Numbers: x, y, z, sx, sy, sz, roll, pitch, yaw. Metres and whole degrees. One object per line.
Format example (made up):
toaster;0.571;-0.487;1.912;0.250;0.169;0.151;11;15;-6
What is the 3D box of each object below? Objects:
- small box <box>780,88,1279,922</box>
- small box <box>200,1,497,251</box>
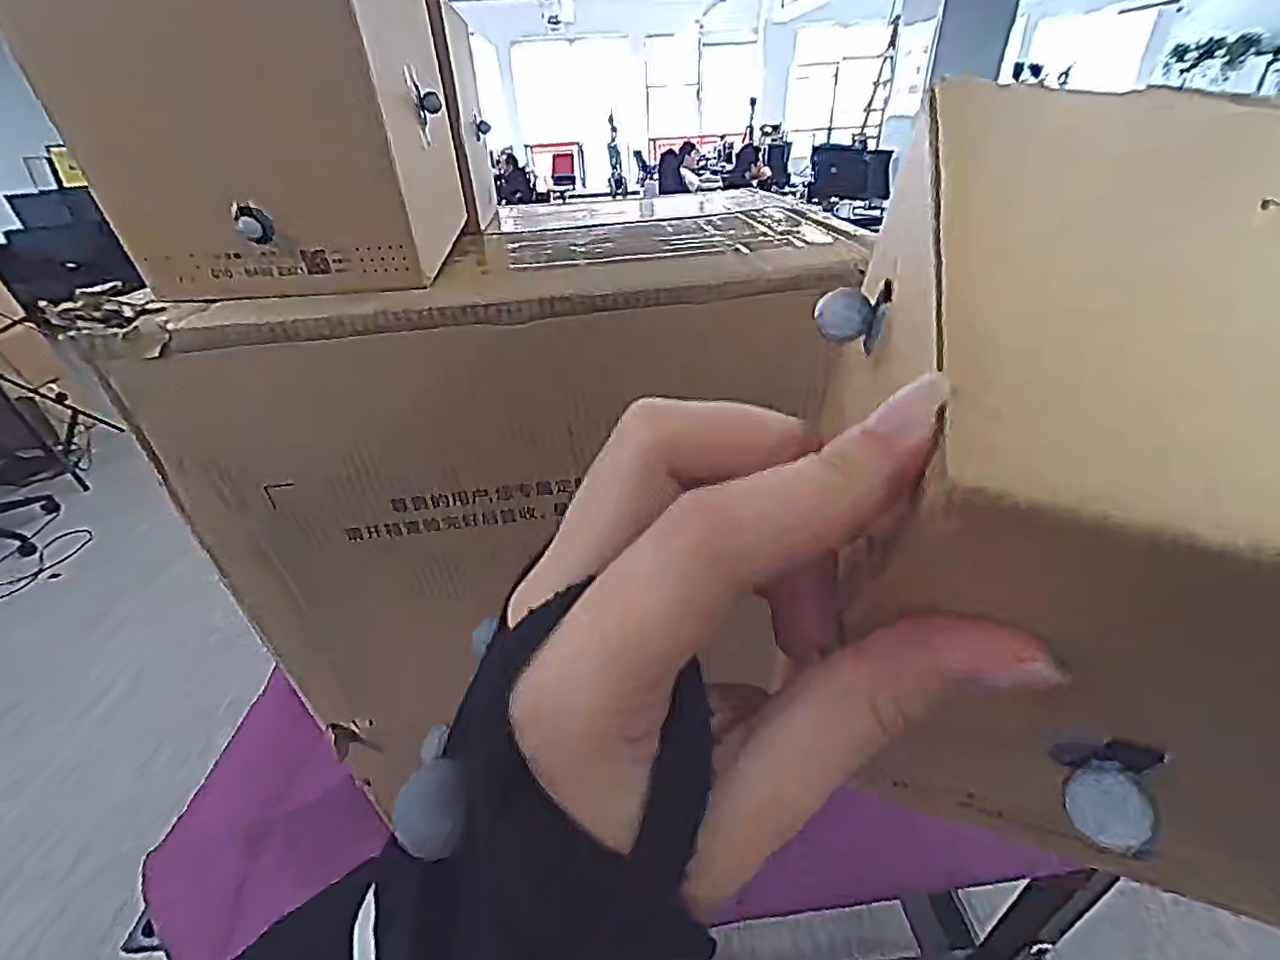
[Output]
small box;0.145;0.007;0.167;0.168;0.176;0.179;12;52;13
small box;-0.238;-0.320;0.504;0.179;0.176;0.168;-6;33;-5
